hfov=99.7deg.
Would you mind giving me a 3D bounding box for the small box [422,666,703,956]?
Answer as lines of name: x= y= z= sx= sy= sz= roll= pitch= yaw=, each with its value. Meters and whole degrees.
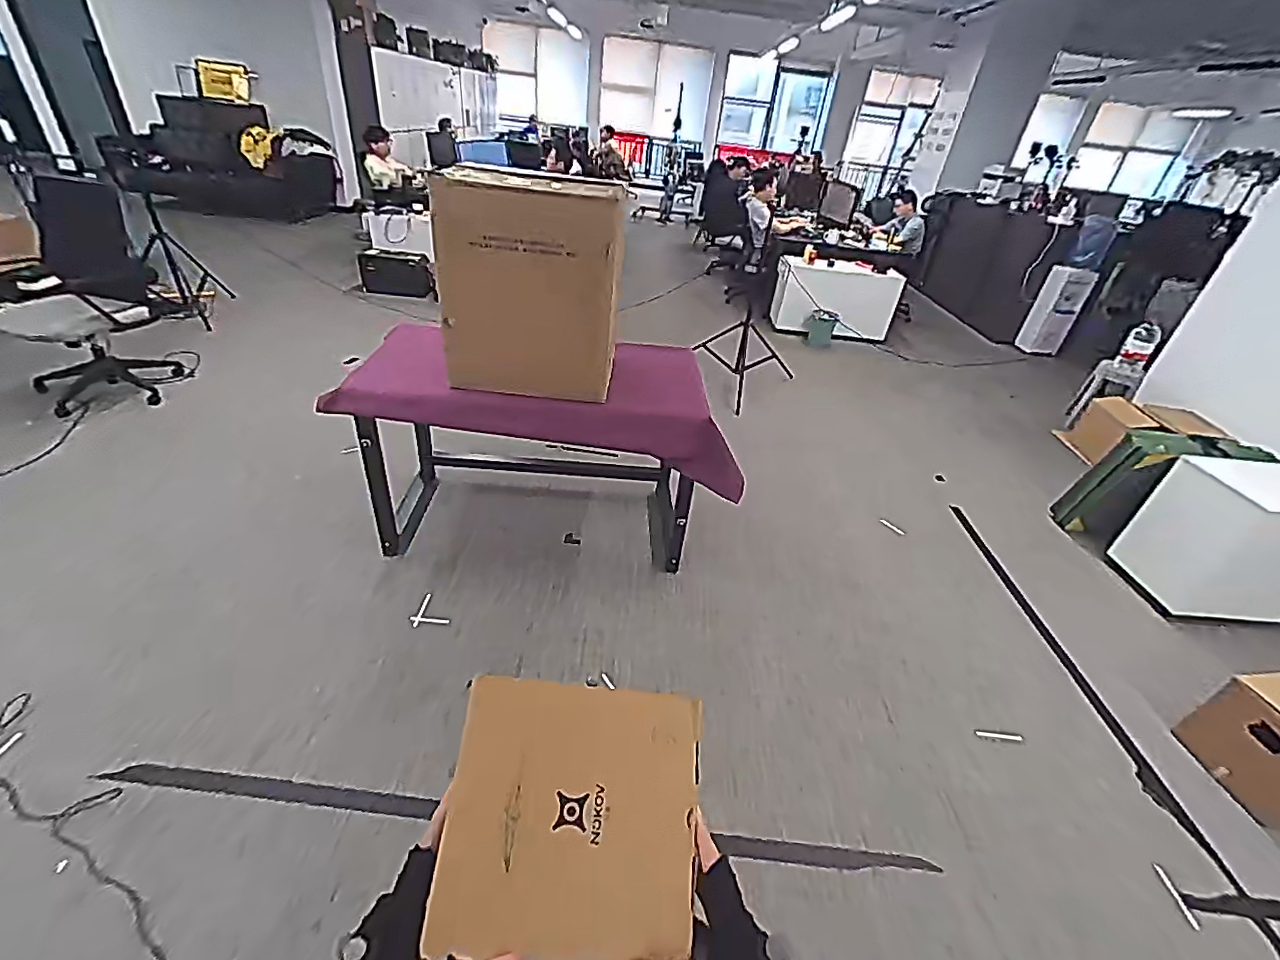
small box: x=-0.056 y=0.256 z=0.442 sx=0.179 sy=0.176 sz=0.168 roll=8 pitch=62 yaw=-8
